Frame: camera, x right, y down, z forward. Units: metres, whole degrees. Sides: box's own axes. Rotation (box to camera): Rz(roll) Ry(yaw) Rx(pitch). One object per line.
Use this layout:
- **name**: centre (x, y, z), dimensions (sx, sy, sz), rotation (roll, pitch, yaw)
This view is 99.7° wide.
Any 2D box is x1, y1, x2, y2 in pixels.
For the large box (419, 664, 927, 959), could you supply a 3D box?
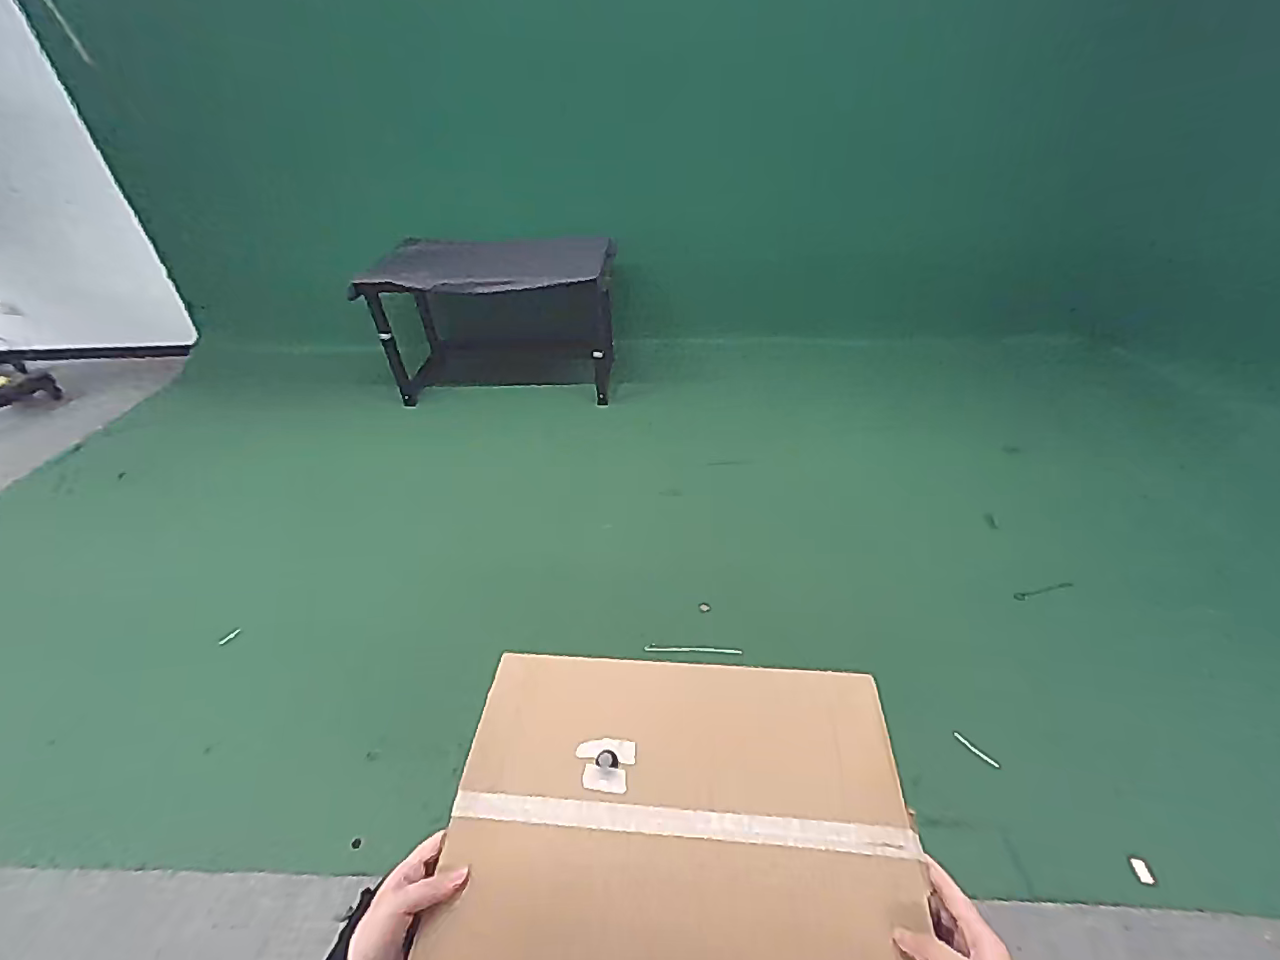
- **large box**: centre (0.043, 0.421, 0.590), dimensions (0.408, 0.320, 0.320), rotation (-1, 42, 8)
